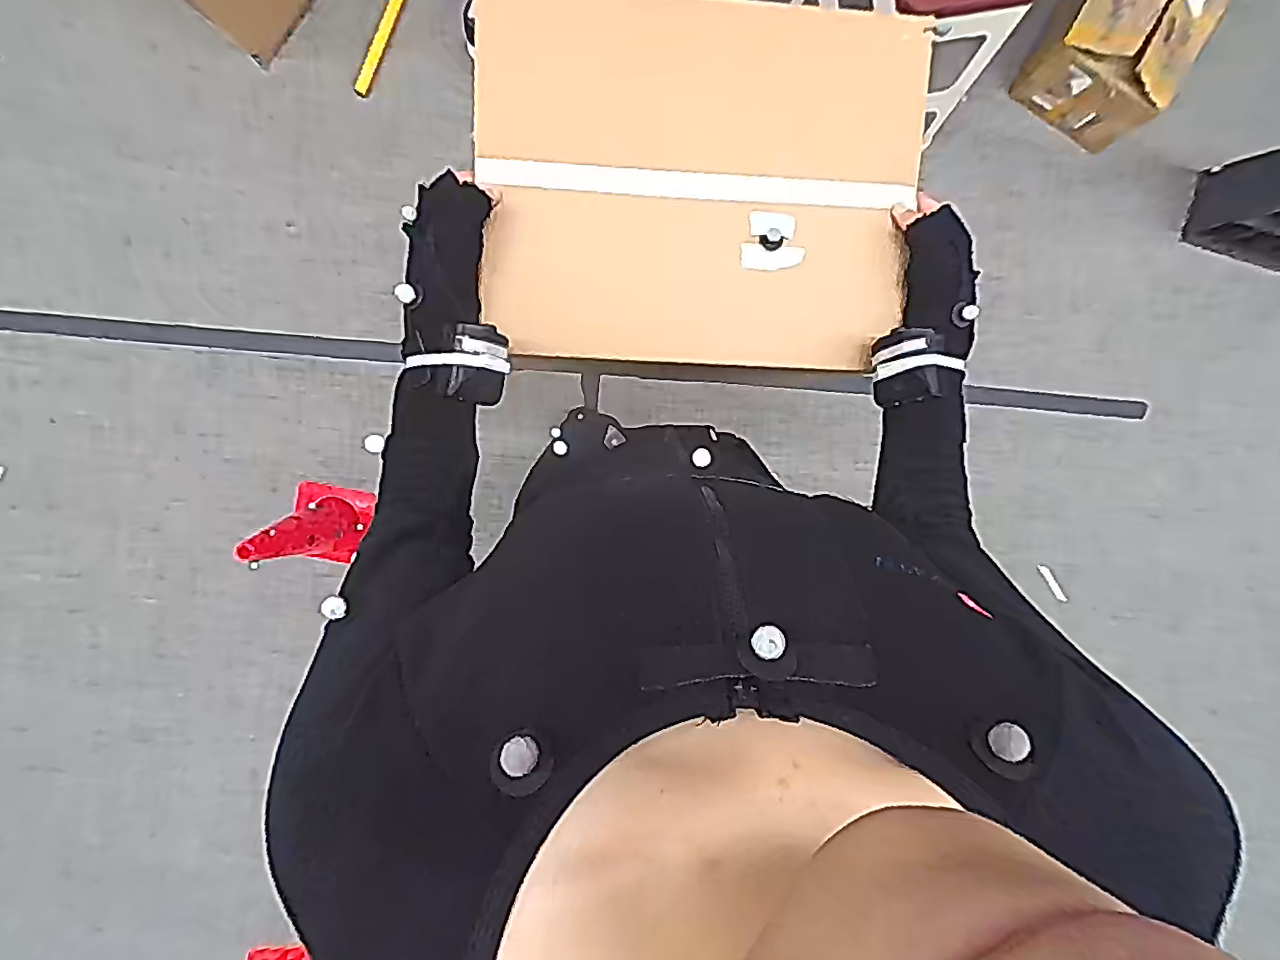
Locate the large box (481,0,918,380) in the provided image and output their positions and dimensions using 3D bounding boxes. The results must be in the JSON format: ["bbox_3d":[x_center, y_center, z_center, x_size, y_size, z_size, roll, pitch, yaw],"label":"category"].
[{"bbox_3d":[0.043,-0.289,0.647,0.408,0.320,0.320,2,98,-5],"label":"large box"}]

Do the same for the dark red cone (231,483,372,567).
[{"bbox_3d":[-0.790,0.128,1.235,0.201,0.394,0.202,10,94,-6],"label":"dark red cone"}]

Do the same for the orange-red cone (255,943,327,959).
[{"bbox_3d":[-0.970,1.411,1.347,0.198,0.360,0.199,2,96,-3],"label":"orange-red cone"}]
